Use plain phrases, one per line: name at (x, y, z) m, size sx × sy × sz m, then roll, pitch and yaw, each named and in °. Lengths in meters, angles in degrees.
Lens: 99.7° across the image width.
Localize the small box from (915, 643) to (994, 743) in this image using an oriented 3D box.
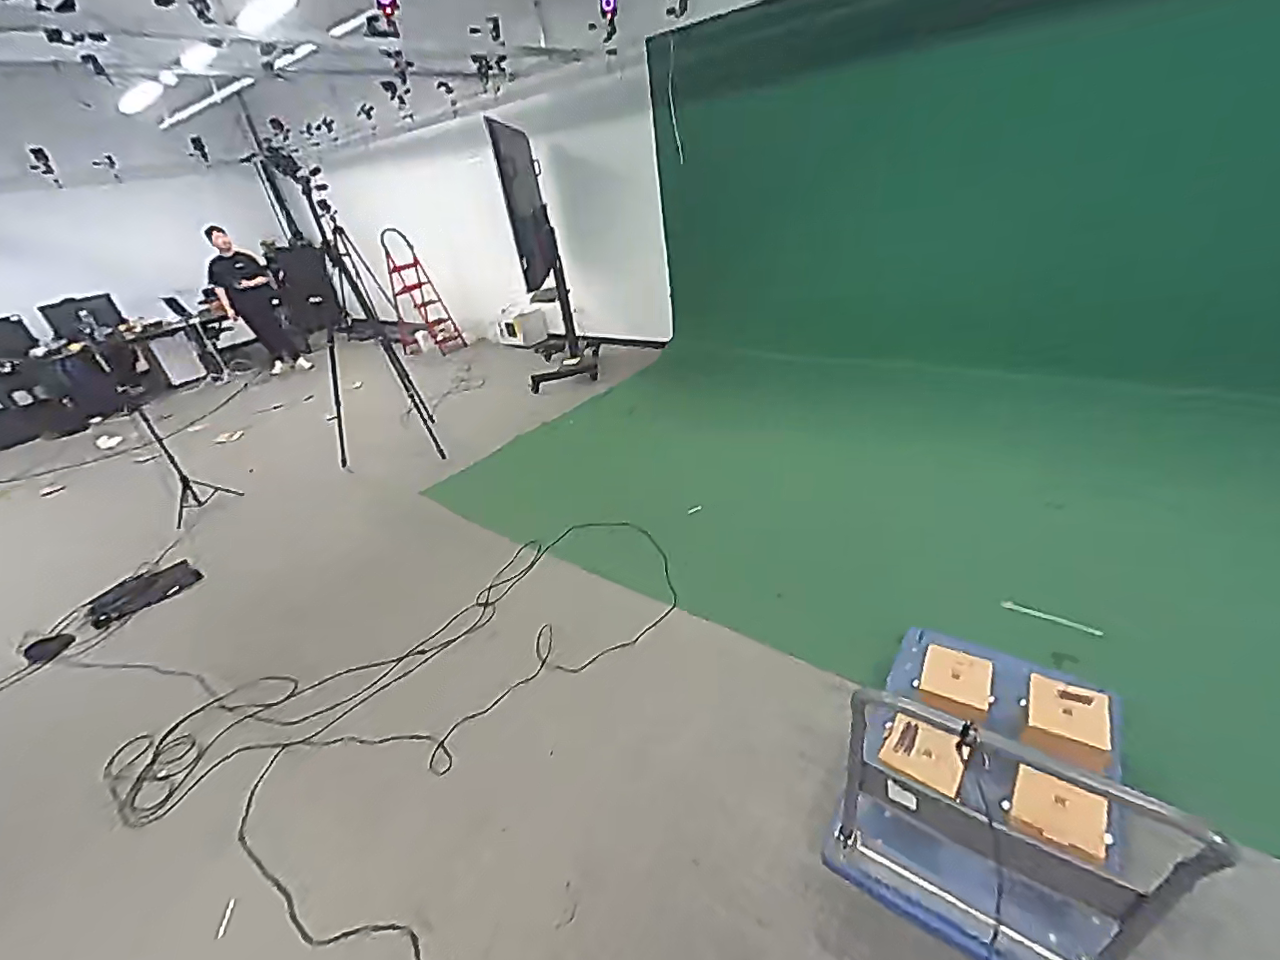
small box at (0.895, 0.608, 1.544) m, size 0.168 × 0.176 × 0.179 m, roll 12°, pitch 37°, yaw 31°

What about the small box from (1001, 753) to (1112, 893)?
small box at (0.947, 0.782, 1.238) m, size 0.168 × 0.176 × 0.179 m, roll 15°, pitch 39°, yaw 35°

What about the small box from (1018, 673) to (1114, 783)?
small box at (1.106, 0.650, 1.412) m, size 0.168 × 0.176 × 0.179 m, roll 11°, pitch 37°, yaw 32°
